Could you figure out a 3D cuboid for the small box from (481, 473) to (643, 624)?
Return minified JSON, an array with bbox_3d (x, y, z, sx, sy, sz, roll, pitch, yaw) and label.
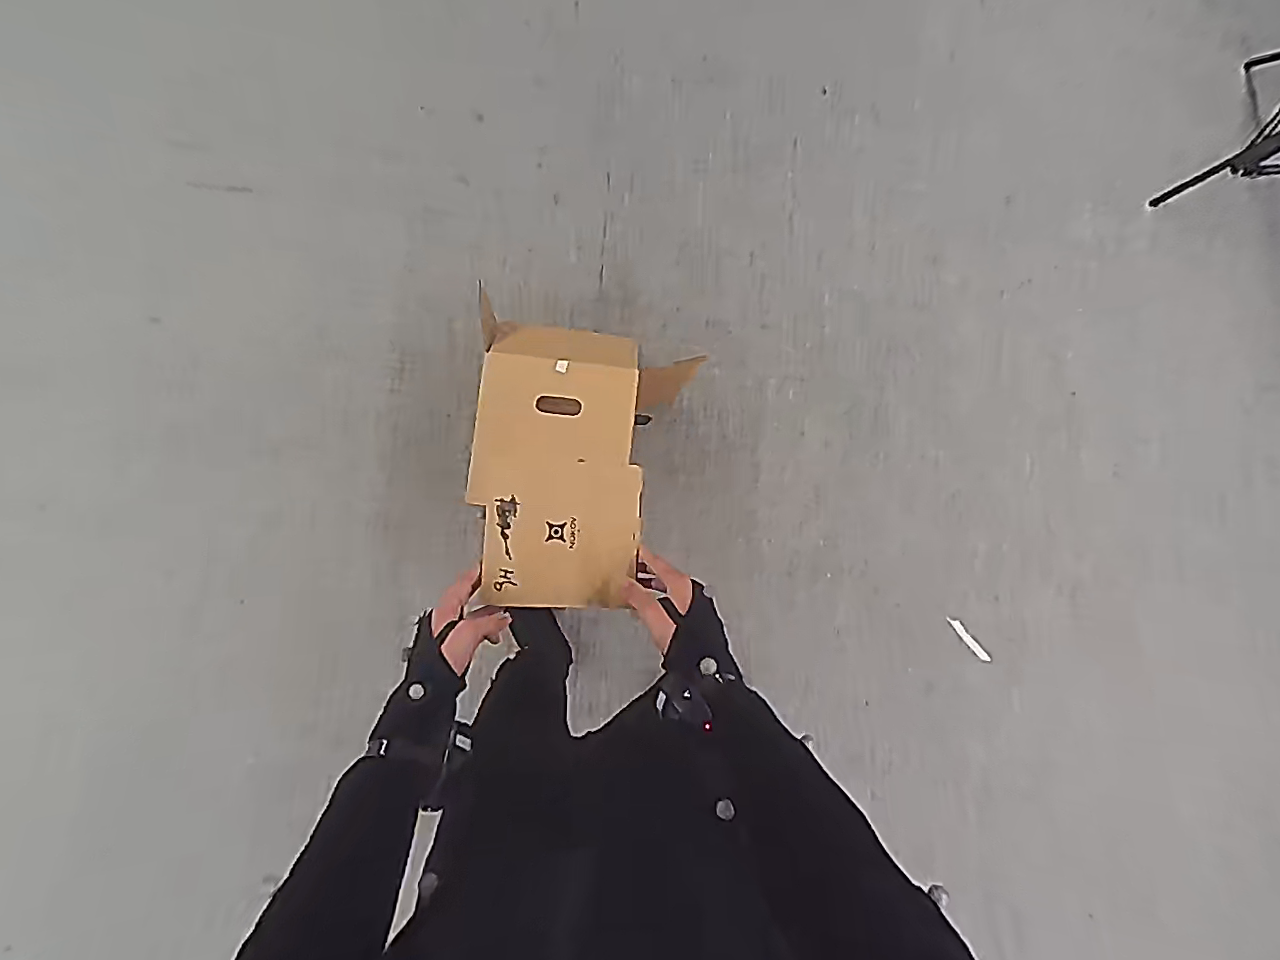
[{"bbox_3d":[-0.099,0.086,0.698,0.179,0.176,0.168,4,83,-8],"label":"small box"}]
